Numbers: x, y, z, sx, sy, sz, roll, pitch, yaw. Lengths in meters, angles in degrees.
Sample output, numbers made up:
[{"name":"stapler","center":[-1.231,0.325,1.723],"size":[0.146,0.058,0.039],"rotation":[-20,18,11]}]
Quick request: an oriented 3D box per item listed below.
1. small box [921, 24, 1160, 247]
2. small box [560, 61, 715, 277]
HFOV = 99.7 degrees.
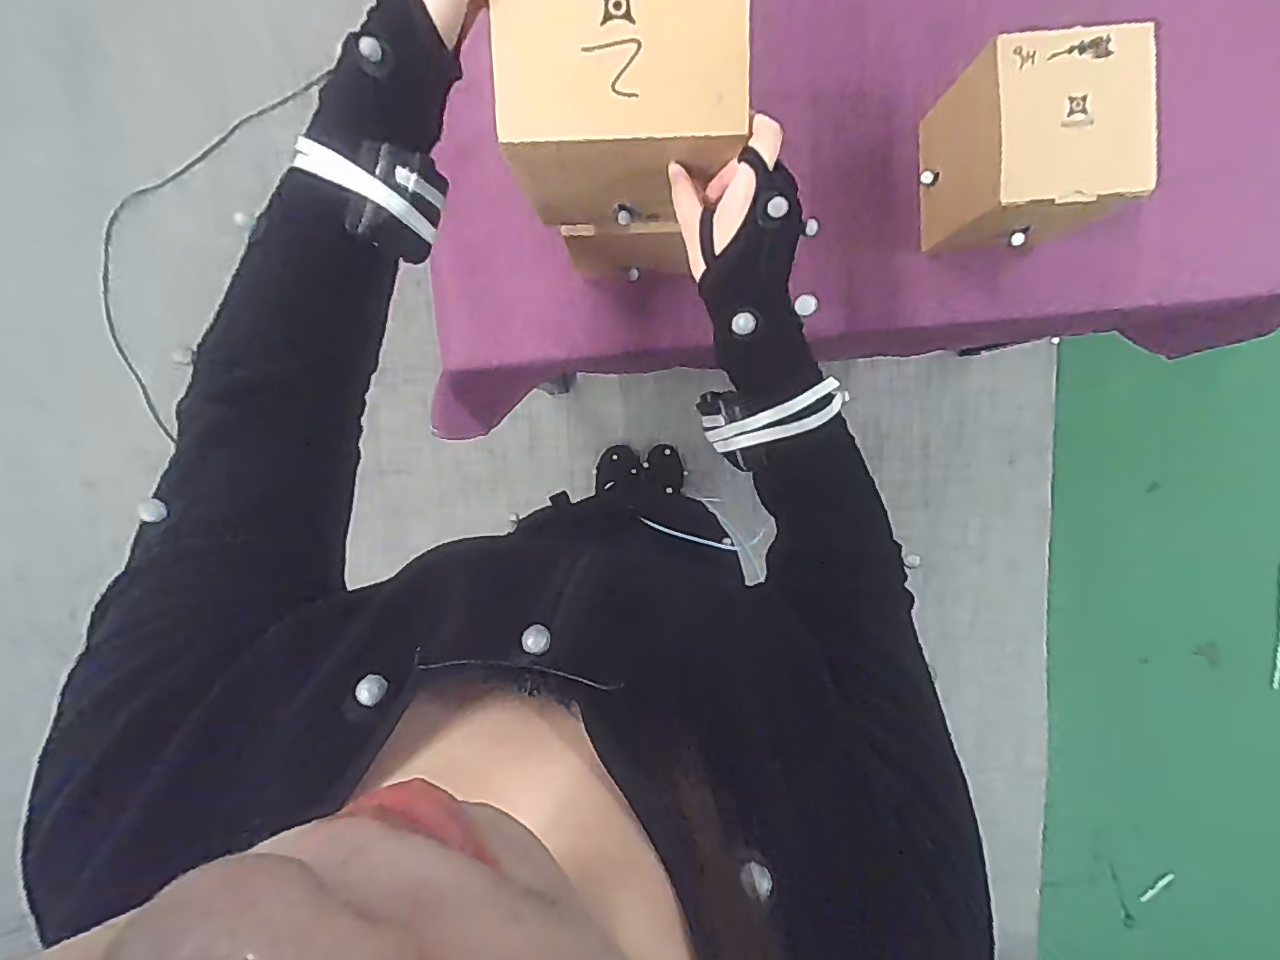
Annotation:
[{"name":"small box","center":[0.462,-0.393,0.652],"size":[0.168,0.176,0.179],"rotation":[-3,96,0]},{"name":"small box","center":[-0.003,-0.361,0.656],"size":[0.168,0.176,0.179],"rotation":[-2,96,0]}]
